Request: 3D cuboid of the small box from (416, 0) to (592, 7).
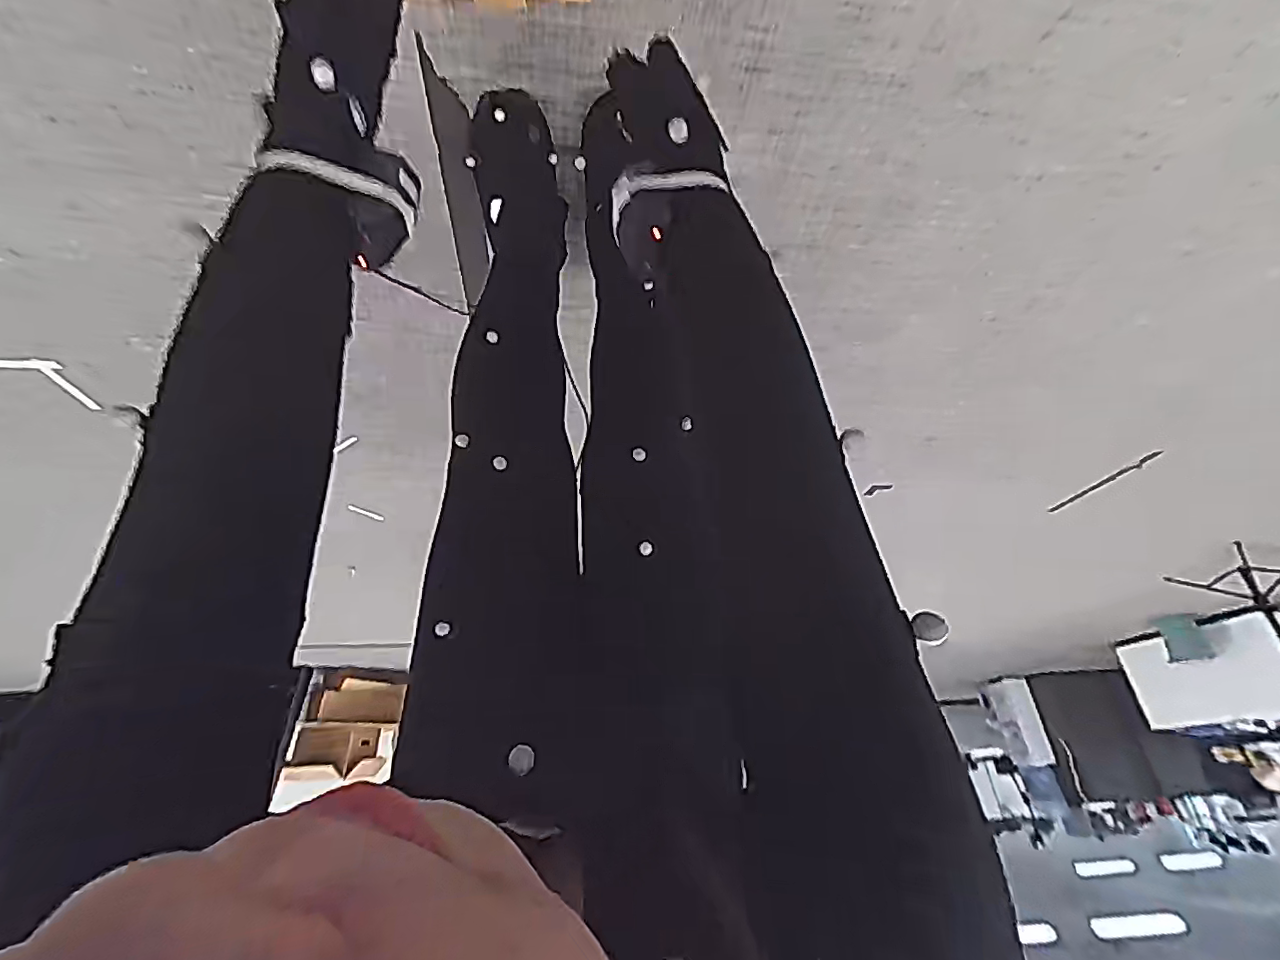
[{"bbox_3d":[-0.120,-0.527,0.434,0.168,0.176,0.179,-2,150,-3],"label":"small box"}]
